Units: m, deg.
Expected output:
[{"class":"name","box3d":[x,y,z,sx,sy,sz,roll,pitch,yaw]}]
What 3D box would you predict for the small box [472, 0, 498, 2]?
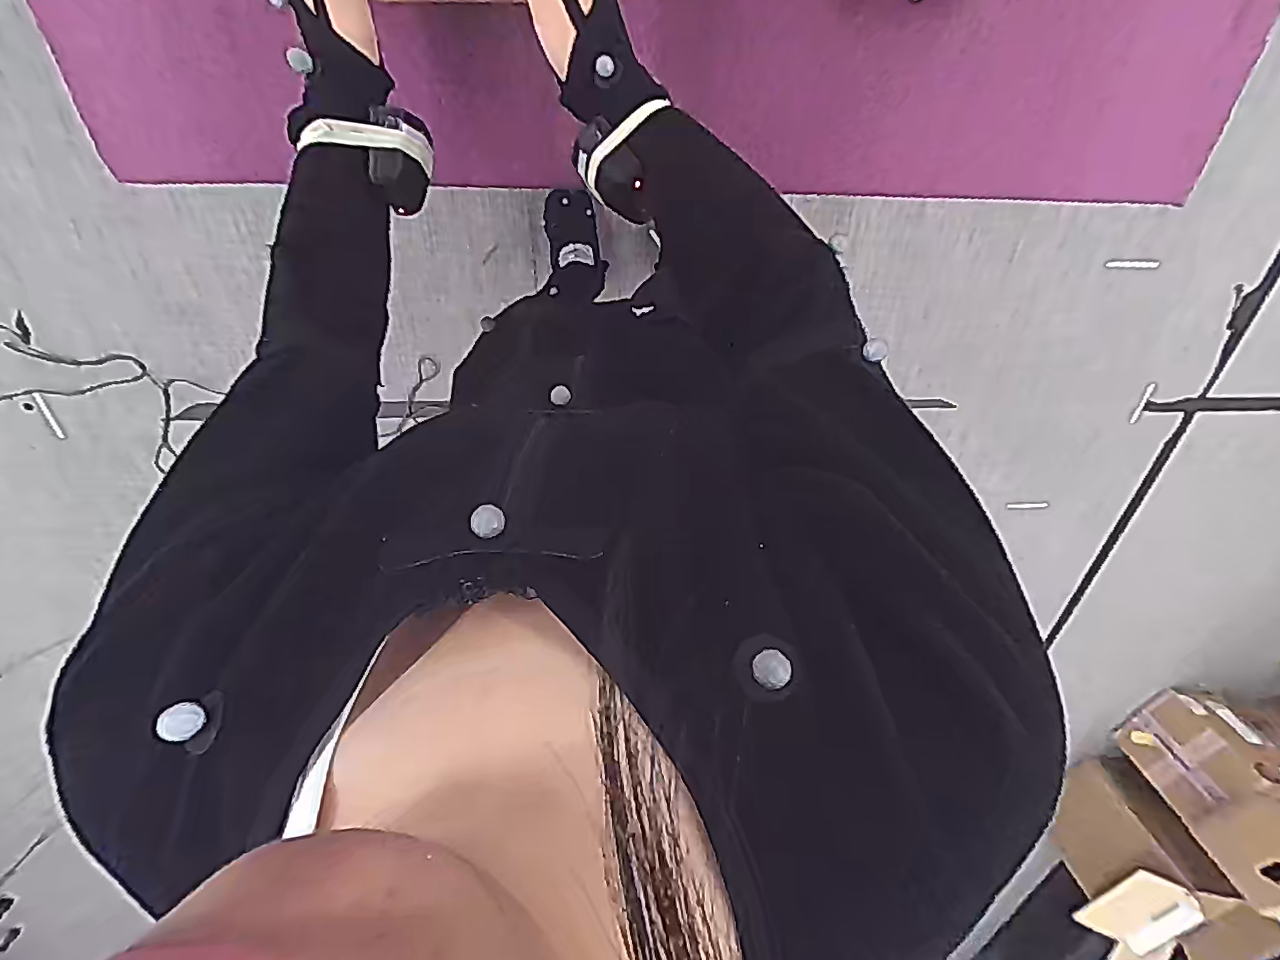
[{"class":"small box","box3d":[-0.151,-0.474,0.393,0.179,0.176,0.168,-3,122,-5]}]
